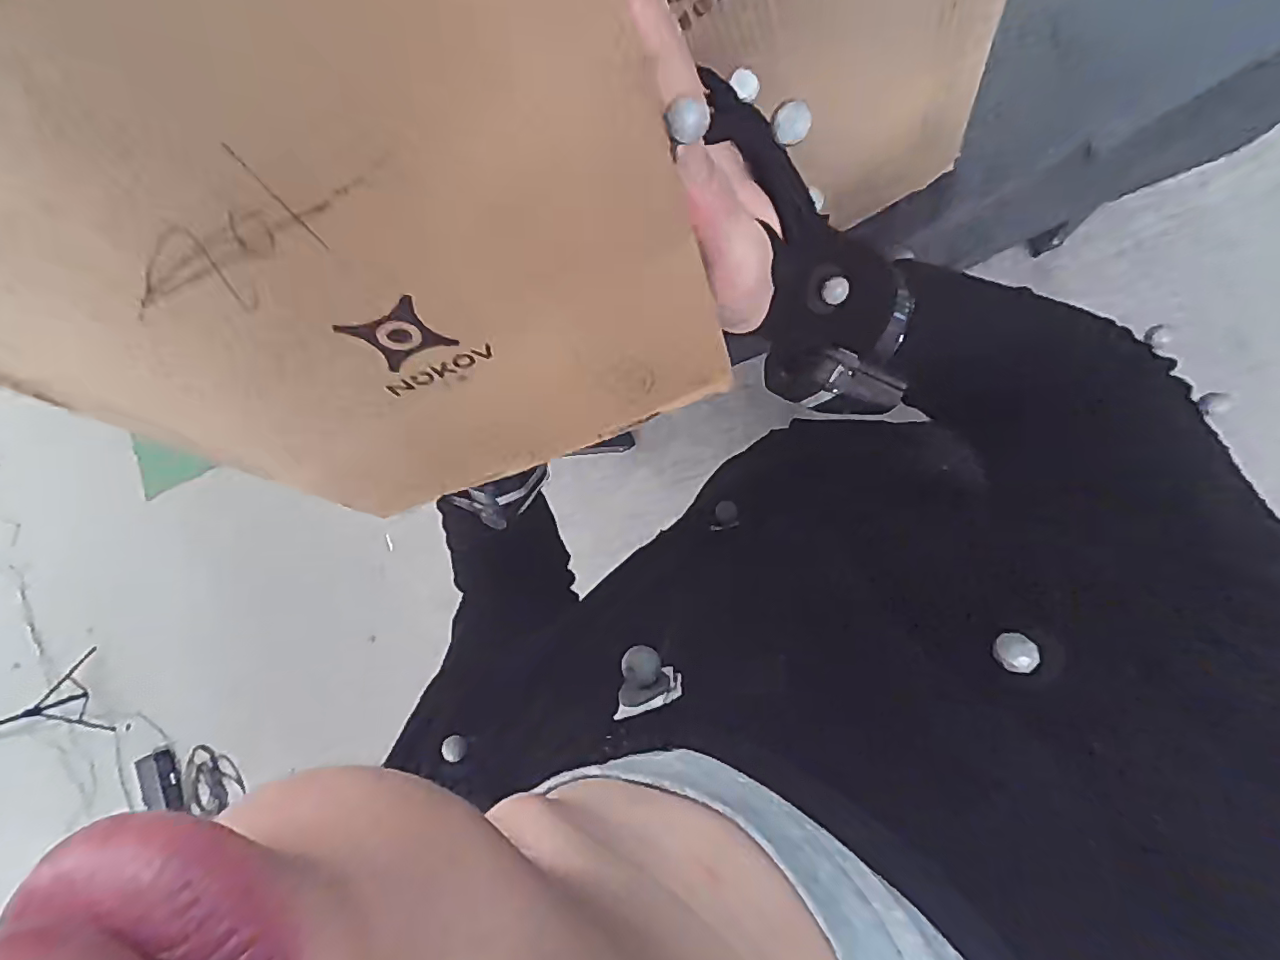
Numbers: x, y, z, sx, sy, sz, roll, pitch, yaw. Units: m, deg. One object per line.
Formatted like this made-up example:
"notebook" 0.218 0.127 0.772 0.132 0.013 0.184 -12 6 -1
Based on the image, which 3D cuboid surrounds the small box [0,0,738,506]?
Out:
"small box" -0.078 -0.112 0.185 0.168 0.179 0.176 -19 66 11
